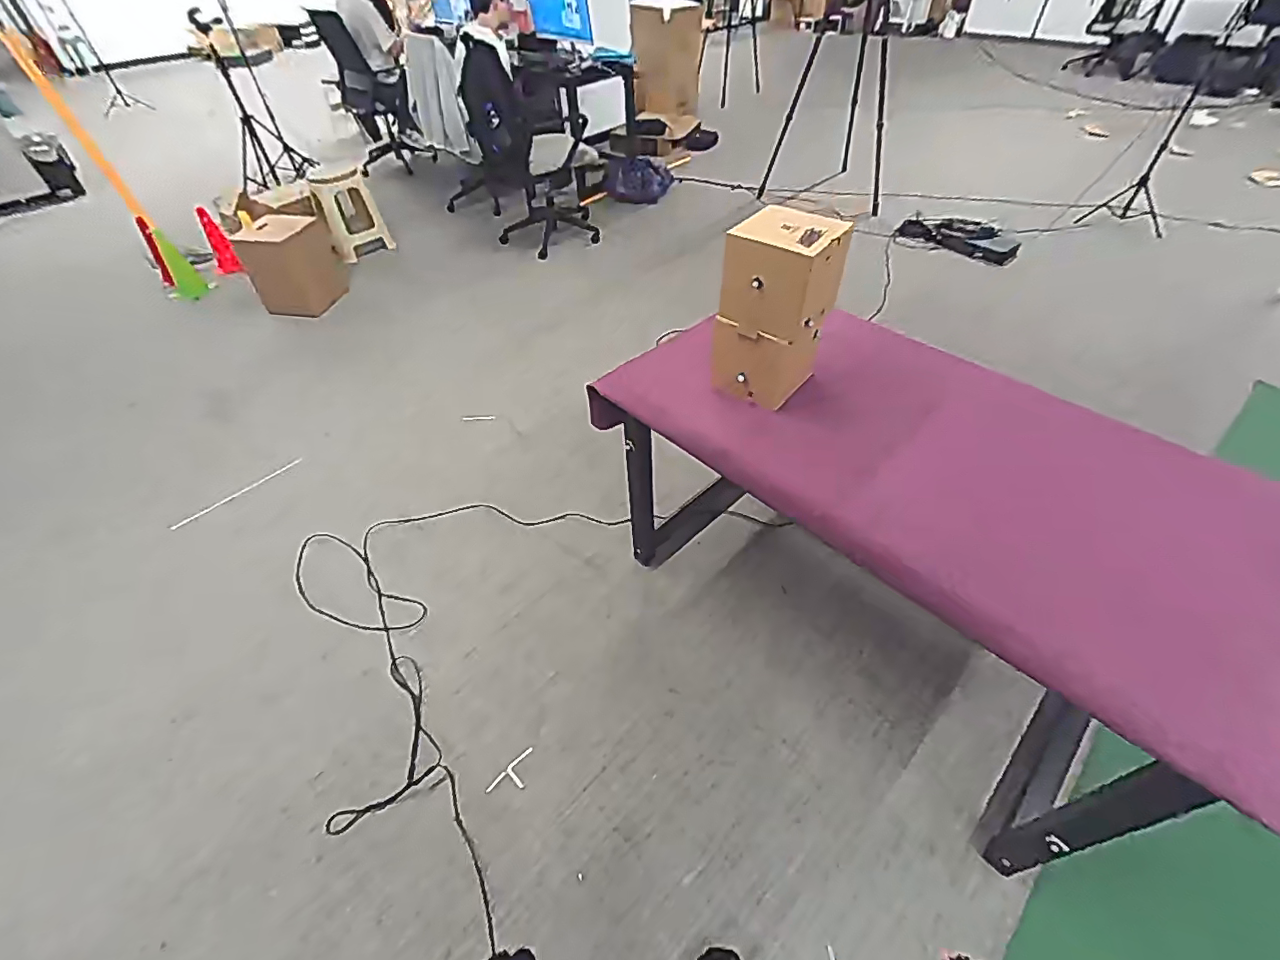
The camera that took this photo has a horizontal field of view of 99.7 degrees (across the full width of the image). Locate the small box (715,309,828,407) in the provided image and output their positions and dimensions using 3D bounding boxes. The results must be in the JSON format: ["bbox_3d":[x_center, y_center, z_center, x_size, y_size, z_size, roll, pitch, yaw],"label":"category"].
[{"bbox_3d":[0.271,-0.288,1.150,0.168,0.176,0.179,30,55,28],"label":"small box"}]

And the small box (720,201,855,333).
[{"bbox_3d":[0.271,-0.401,1.026,0.179,0.176,0.168,32,55,28],"label":"small box"}]
